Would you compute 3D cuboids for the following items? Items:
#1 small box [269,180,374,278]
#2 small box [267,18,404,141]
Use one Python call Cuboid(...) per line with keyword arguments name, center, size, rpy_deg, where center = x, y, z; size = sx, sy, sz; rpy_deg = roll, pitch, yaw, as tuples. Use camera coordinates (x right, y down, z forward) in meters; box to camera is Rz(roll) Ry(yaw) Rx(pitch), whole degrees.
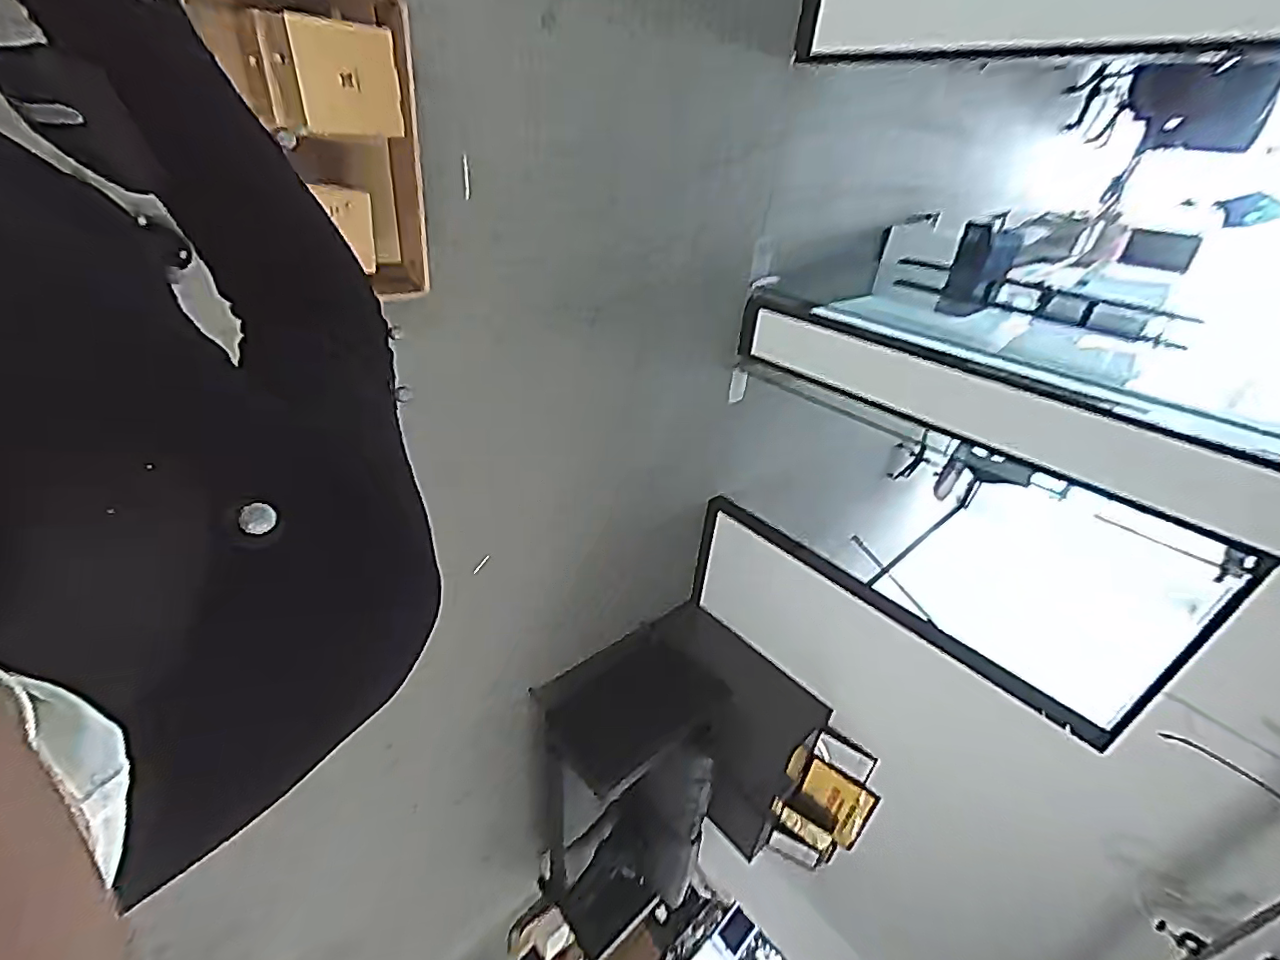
Cuboid(name="small box", center=(-0.732, -0.576, 1.248), size=(0.168, 0.176, 0.179), rpy_deg=(-17, 127, -40))
Cuboid(name="small box", center=(-0.578, -0.748, 1.024), size=(0.179, 0.176, 0.168), rpy_deg=(-23, 133, -36))
